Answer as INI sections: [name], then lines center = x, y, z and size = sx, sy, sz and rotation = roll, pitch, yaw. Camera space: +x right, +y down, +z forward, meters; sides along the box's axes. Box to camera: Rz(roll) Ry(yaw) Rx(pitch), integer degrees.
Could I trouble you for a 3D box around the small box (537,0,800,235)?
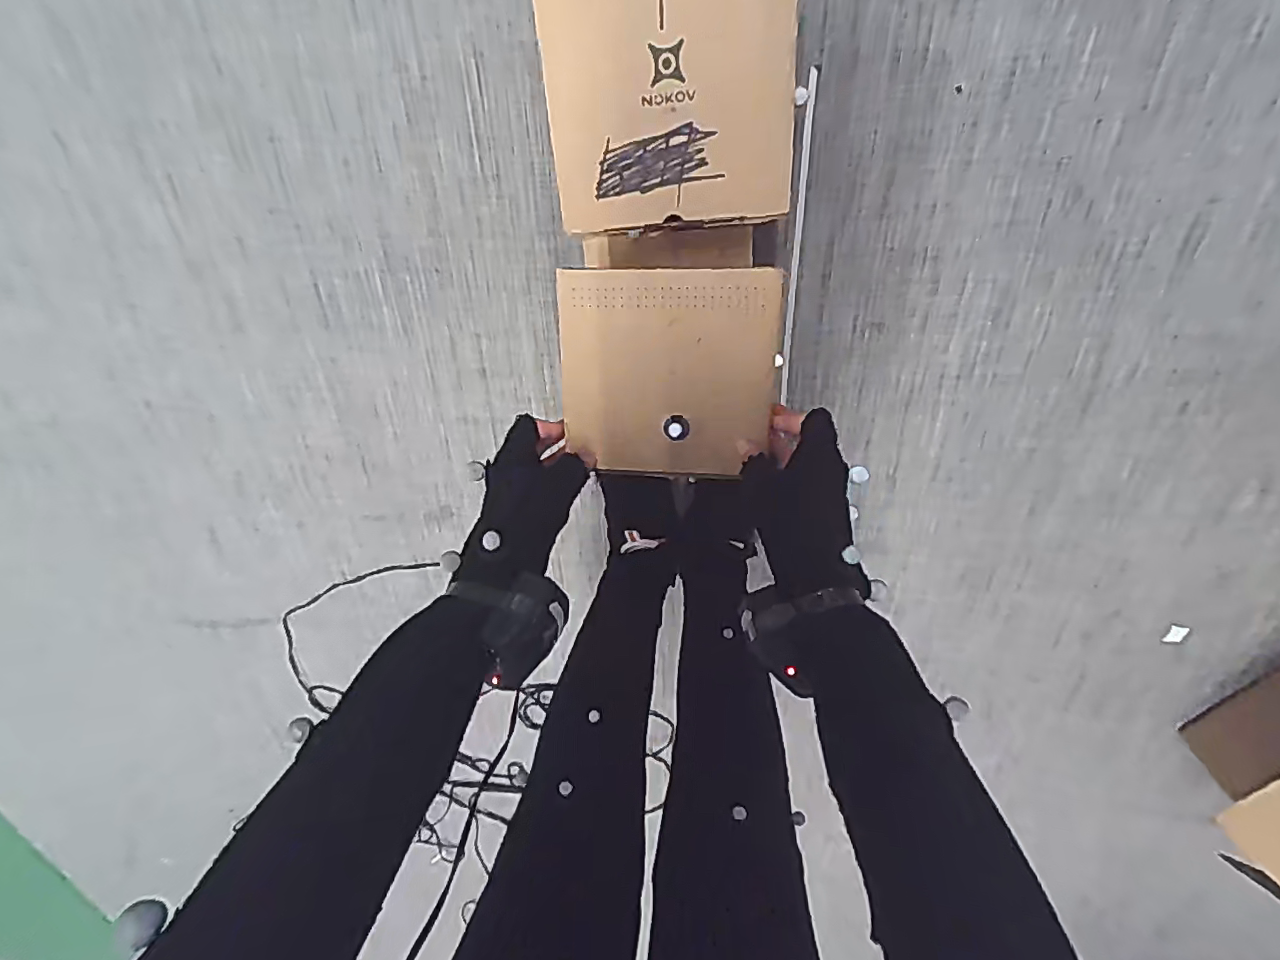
[small box]
center = 0.030, -0.296, 0.422
size = 0.168, 0.176, 0.179
rotation = 0, 116, 9
